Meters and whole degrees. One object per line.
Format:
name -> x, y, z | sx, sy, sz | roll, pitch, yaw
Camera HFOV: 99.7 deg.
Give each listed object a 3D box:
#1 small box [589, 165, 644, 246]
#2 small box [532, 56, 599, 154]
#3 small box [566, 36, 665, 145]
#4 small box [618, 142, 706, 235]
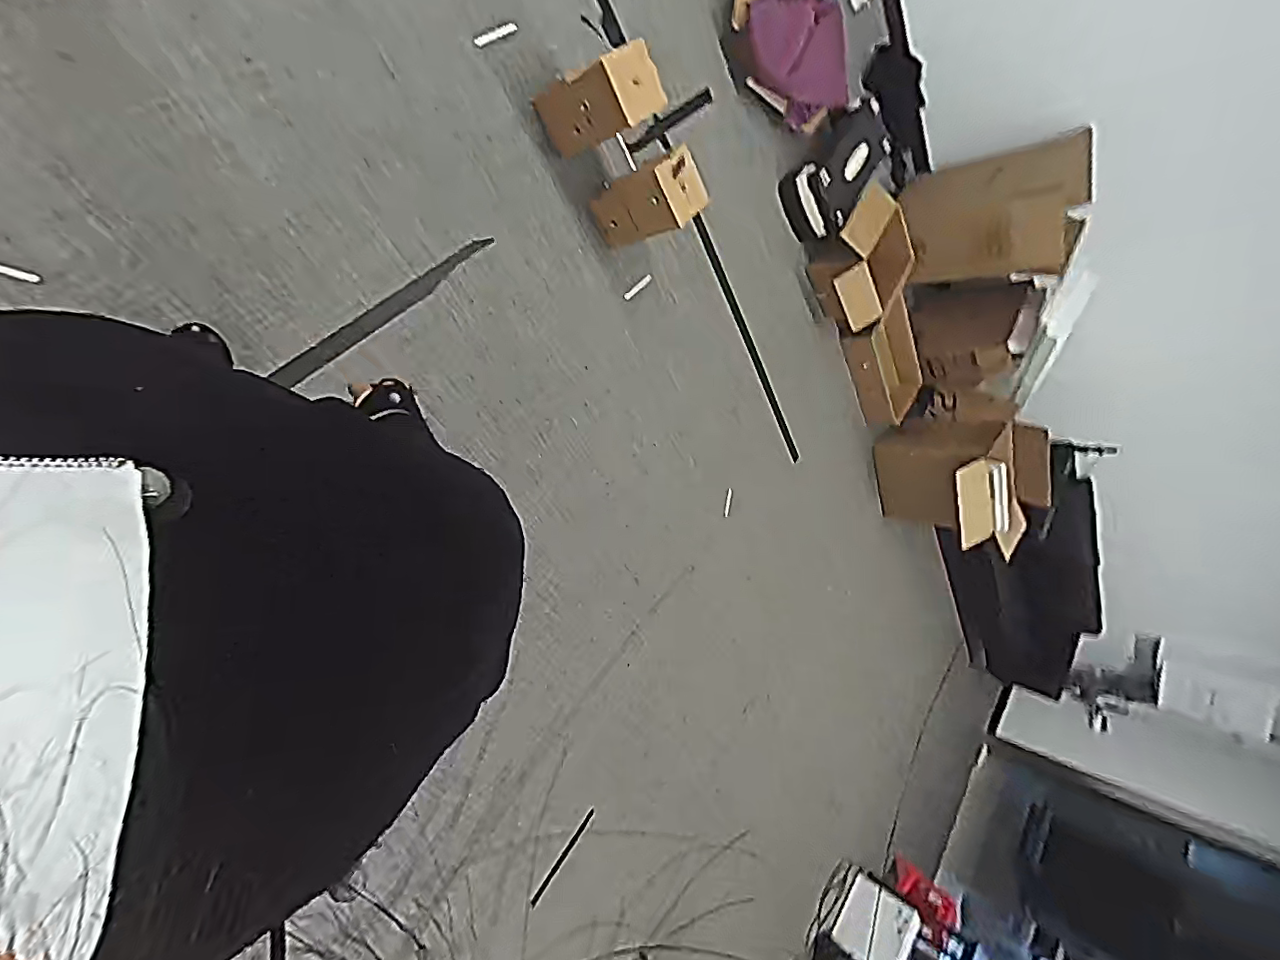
small box -> -0.042, -0.890, 1.760 | 0.179, 0.176, 0.168 | -51, 127, -23
small box -> -0.183, -1.095, 1.596 | 0.168, 0.176, 0.179 | -49, 125, -26
small box -> -0.070, -1.062, 1.483 | 0.179, 0.176, 0.168 | -48, 124, -24
small box -> 0.063, -0.872, 1.633 | 0.168, 0.176, 0.179 | -52, 127, -23
